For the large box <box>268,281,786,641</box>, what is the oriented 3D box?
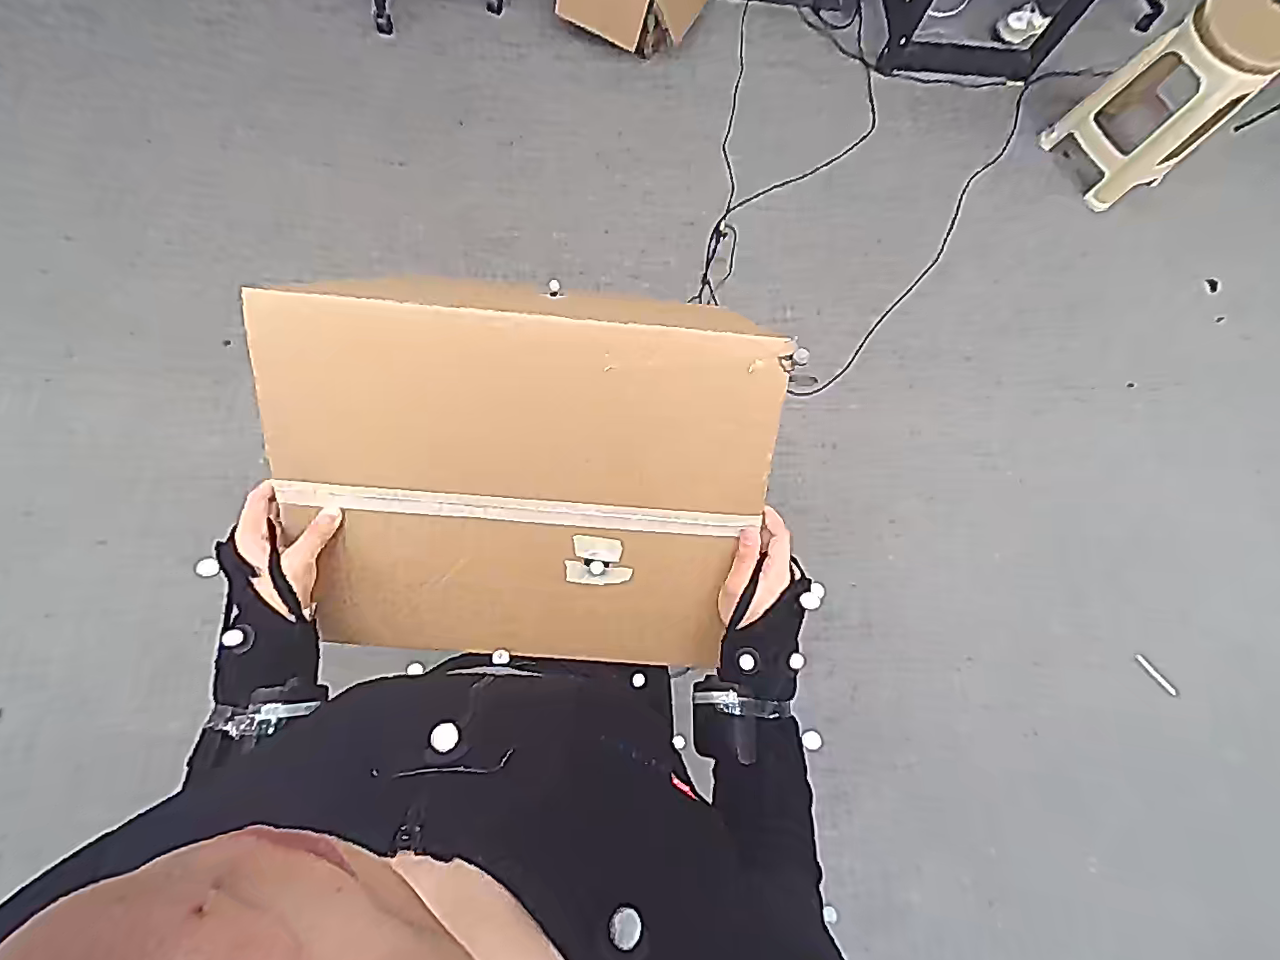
[{"bbox_3d":[-0.098,-0.046,0.607,0.408,0.320,0.320,4,114,-3],"label":"large box"}]
